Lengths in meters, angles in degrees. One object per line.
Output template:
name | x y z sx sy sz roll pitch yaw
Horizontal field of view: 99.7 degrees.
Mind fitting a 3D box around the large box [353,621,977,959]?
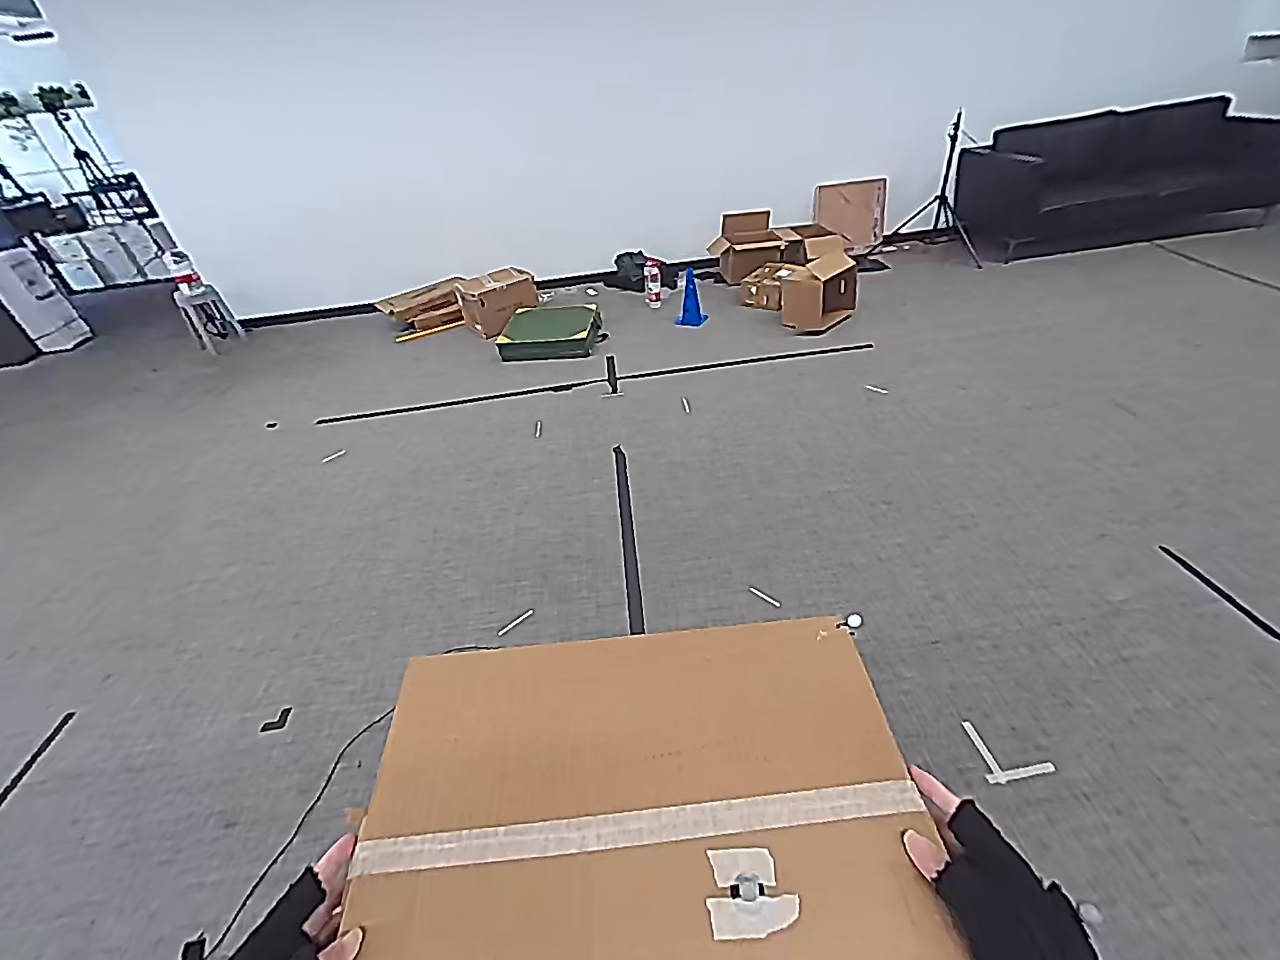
large box | 0.010 0.366 0.500 0.408 0.320 0.320 -5 43 -2
